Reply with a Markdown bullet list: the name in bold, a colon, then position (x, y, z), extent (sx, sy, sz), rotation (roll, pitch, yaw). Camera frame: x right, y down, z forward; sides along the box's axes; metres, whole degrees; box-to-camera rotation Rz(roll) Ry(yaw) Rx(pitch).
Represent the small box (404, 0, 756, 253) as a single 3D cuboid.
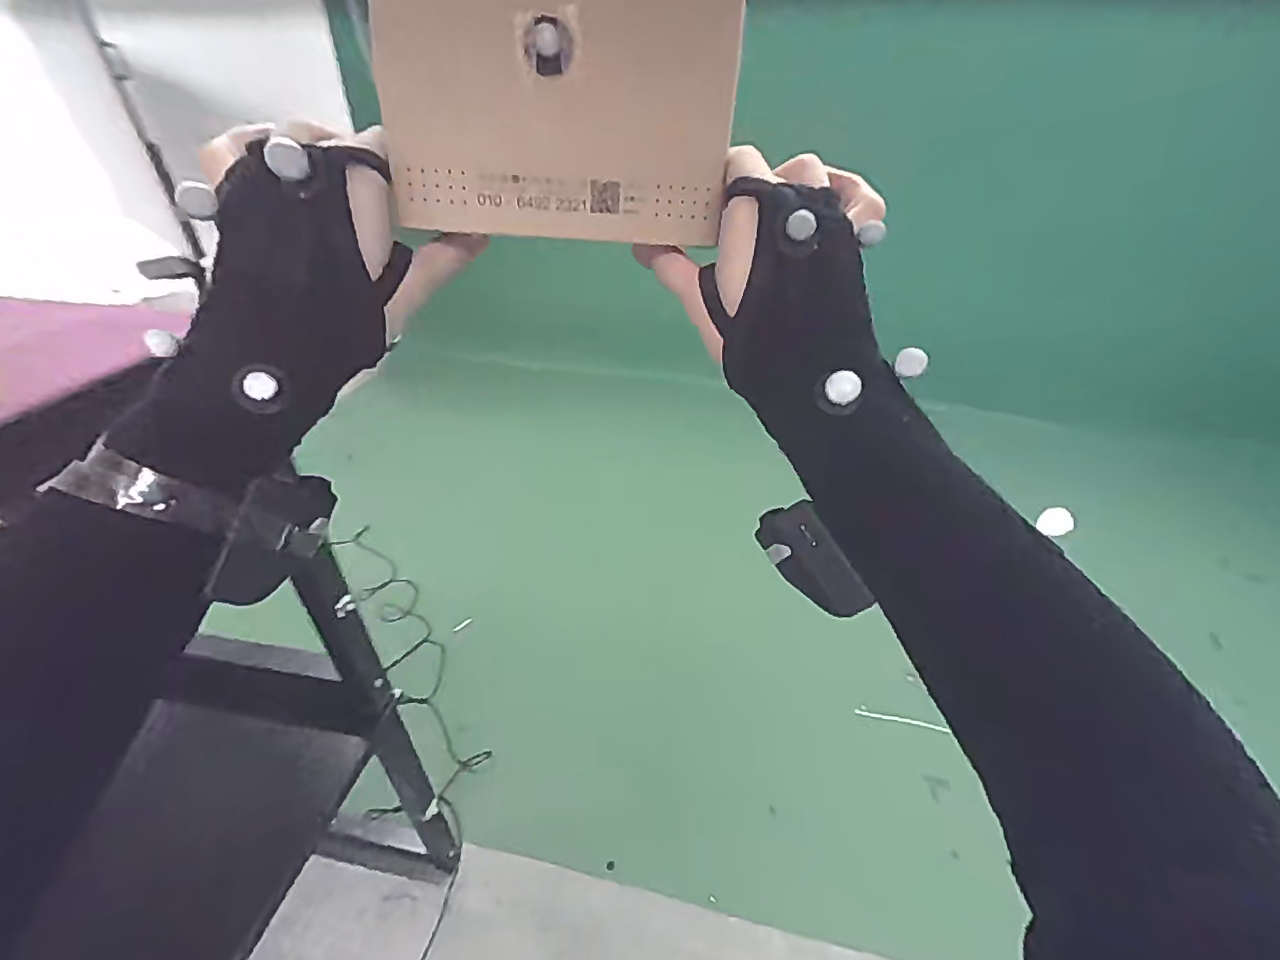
- **small box**: position (-0.031, -0.232, 0.326), extent (0.168, 0.176, 0.179), rotation (2, 24, -5)
